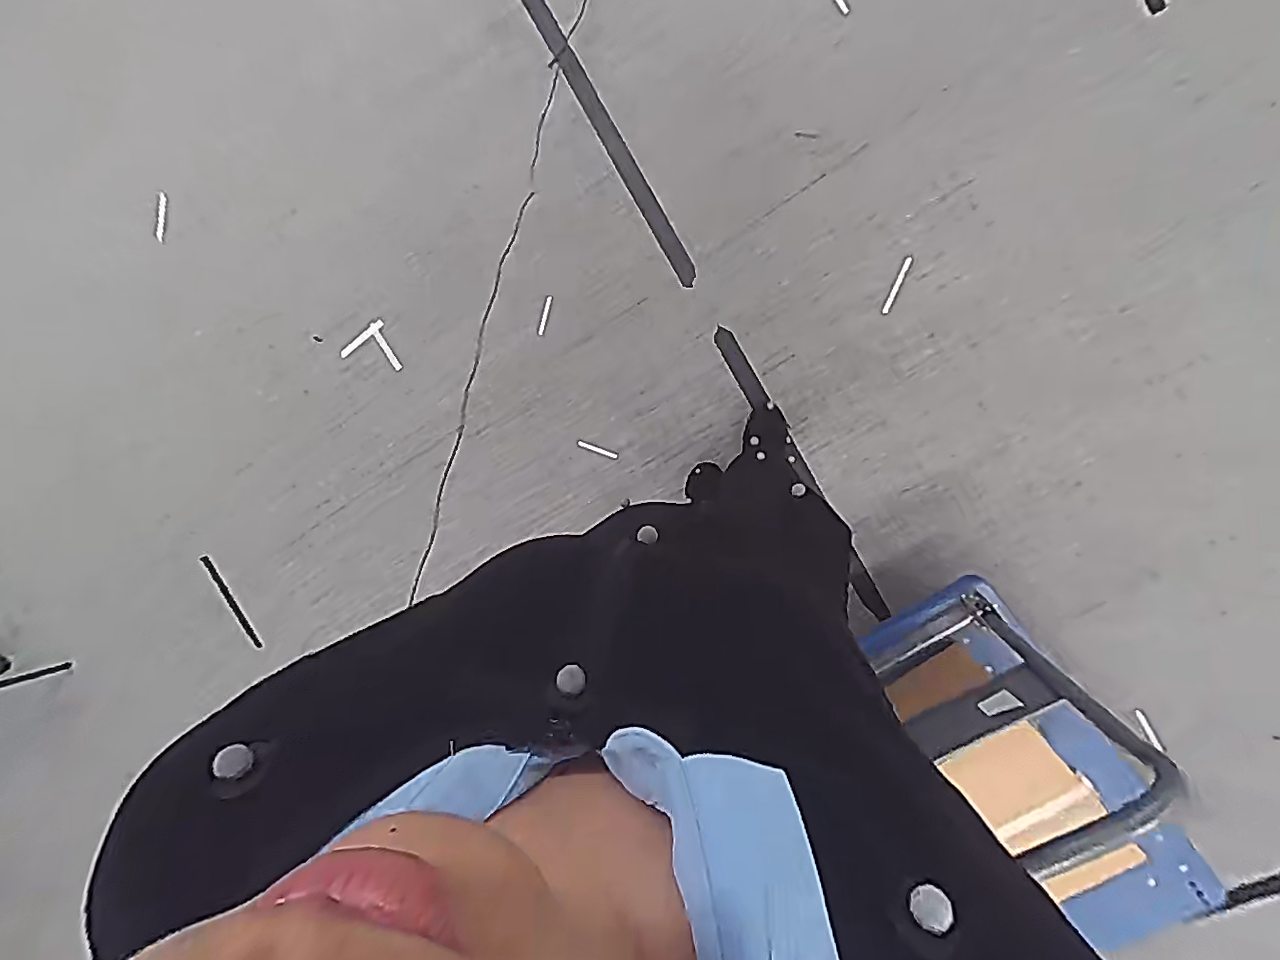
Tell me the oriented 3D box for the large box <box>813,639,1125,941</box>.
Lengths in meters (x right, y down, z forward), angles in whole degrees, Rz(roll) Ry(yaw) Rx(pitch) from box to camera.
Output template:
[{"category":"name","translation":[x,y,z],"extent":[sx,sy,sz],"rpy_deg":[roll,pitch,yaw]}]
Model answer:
[{"category":"large box","translation":[0.629,0.613,1.124],"extent":[0.408,0.320,0.320],"rpy_deg":[-41,87,15]}]
